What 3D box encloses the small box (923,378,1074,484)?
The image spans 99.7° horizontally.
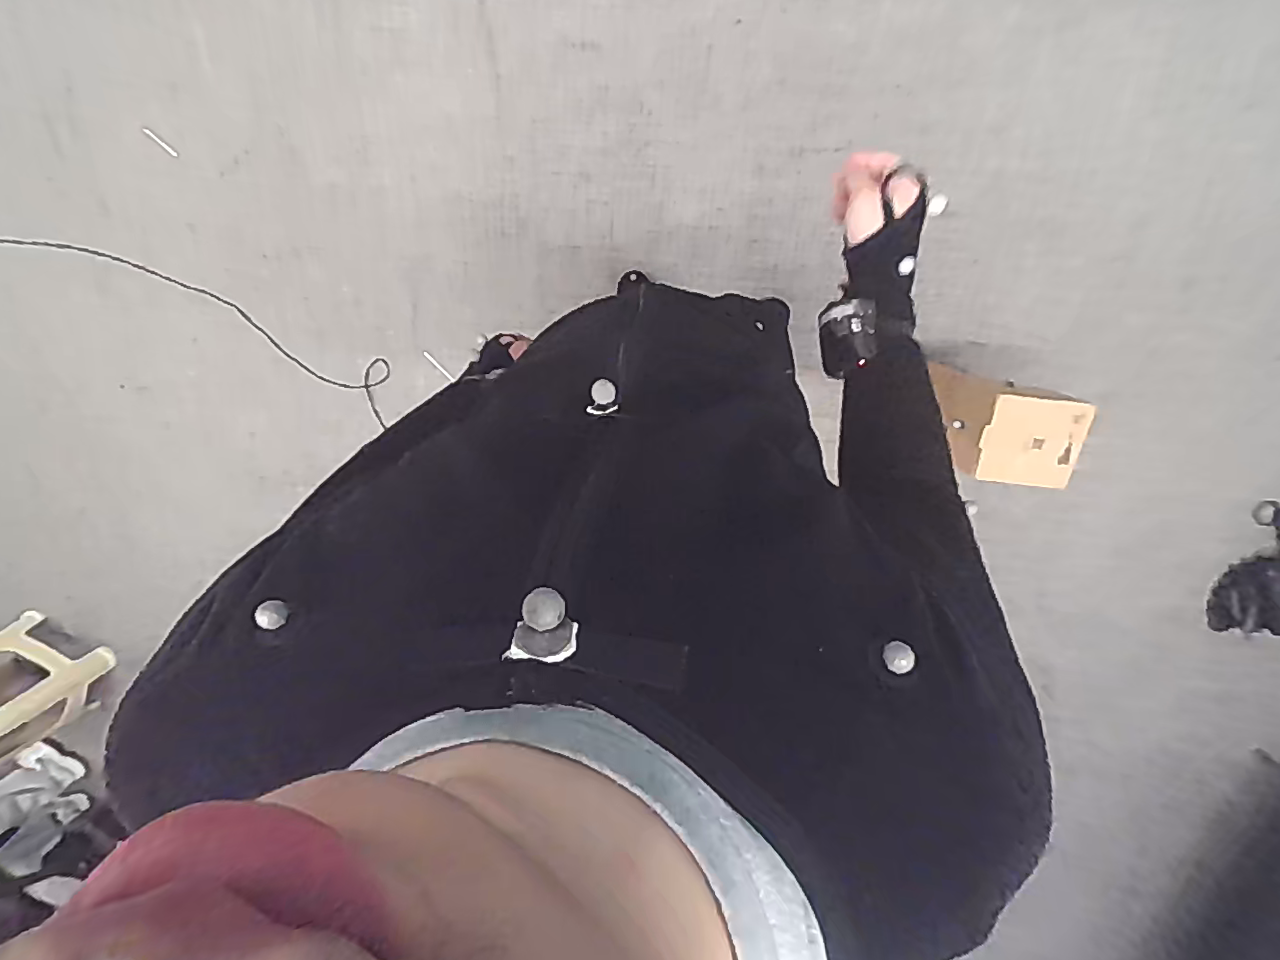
[{"bbox_3d":[0.713,-0.107,1.102,0.179,0.176,0.168,8,111,1],"label":"small box"}]

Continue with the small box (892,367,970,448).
[{"bbox_3d":[0.726,-0.155,1.257,0.179,0.176,0.168,16,111,-2],"label":"small box"}]
